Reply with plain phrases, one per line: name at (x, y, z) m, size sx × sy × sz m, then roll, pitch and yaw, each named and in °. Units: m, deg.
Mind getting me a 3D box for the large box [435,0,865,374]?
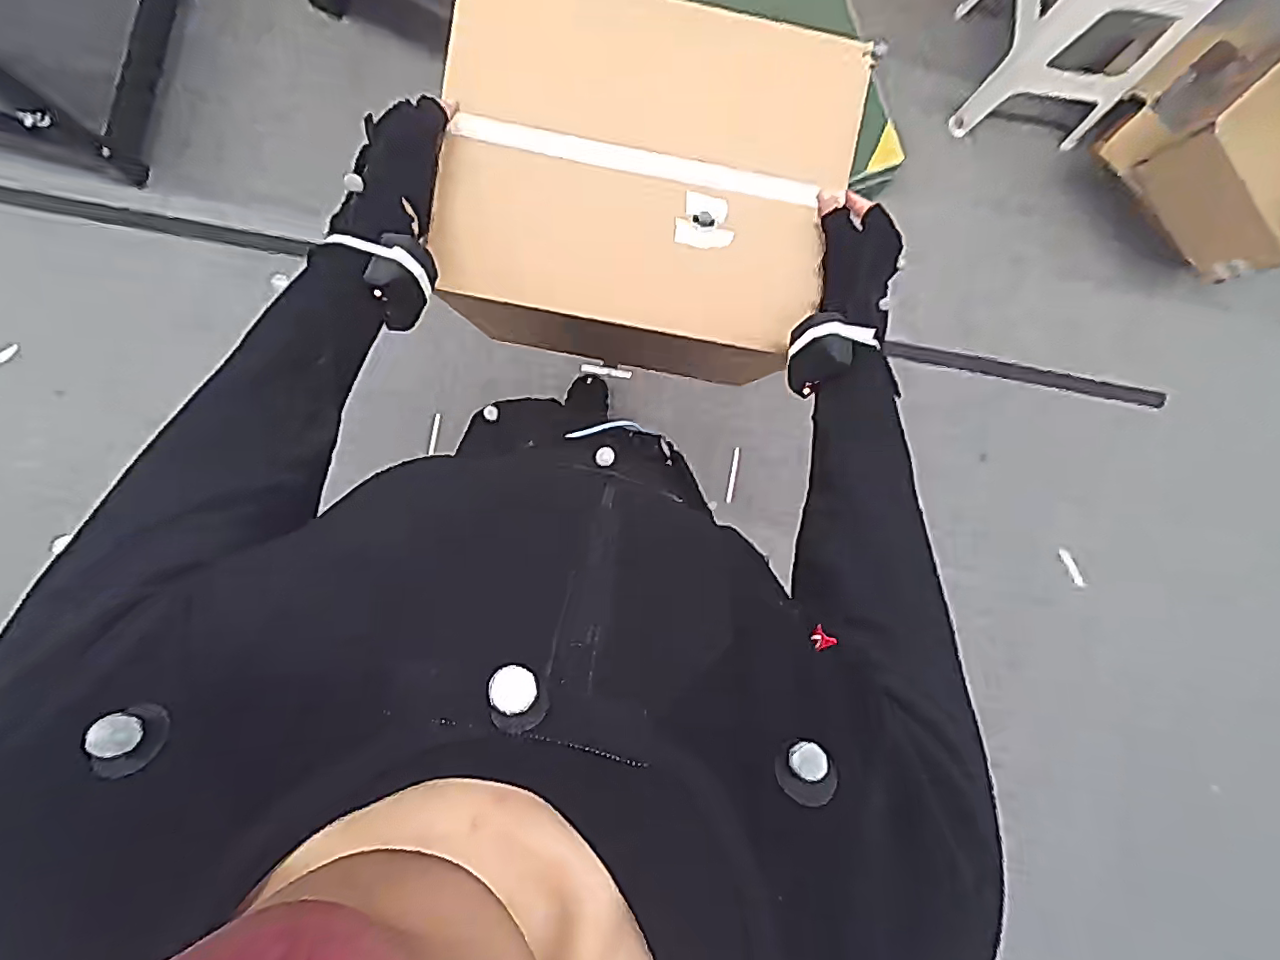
large box at (0.001, -0.336, 0.692) m, size 0.408 × 0.320 × 0.320 m, roll 10°, pitch 95°, yaw -4°
